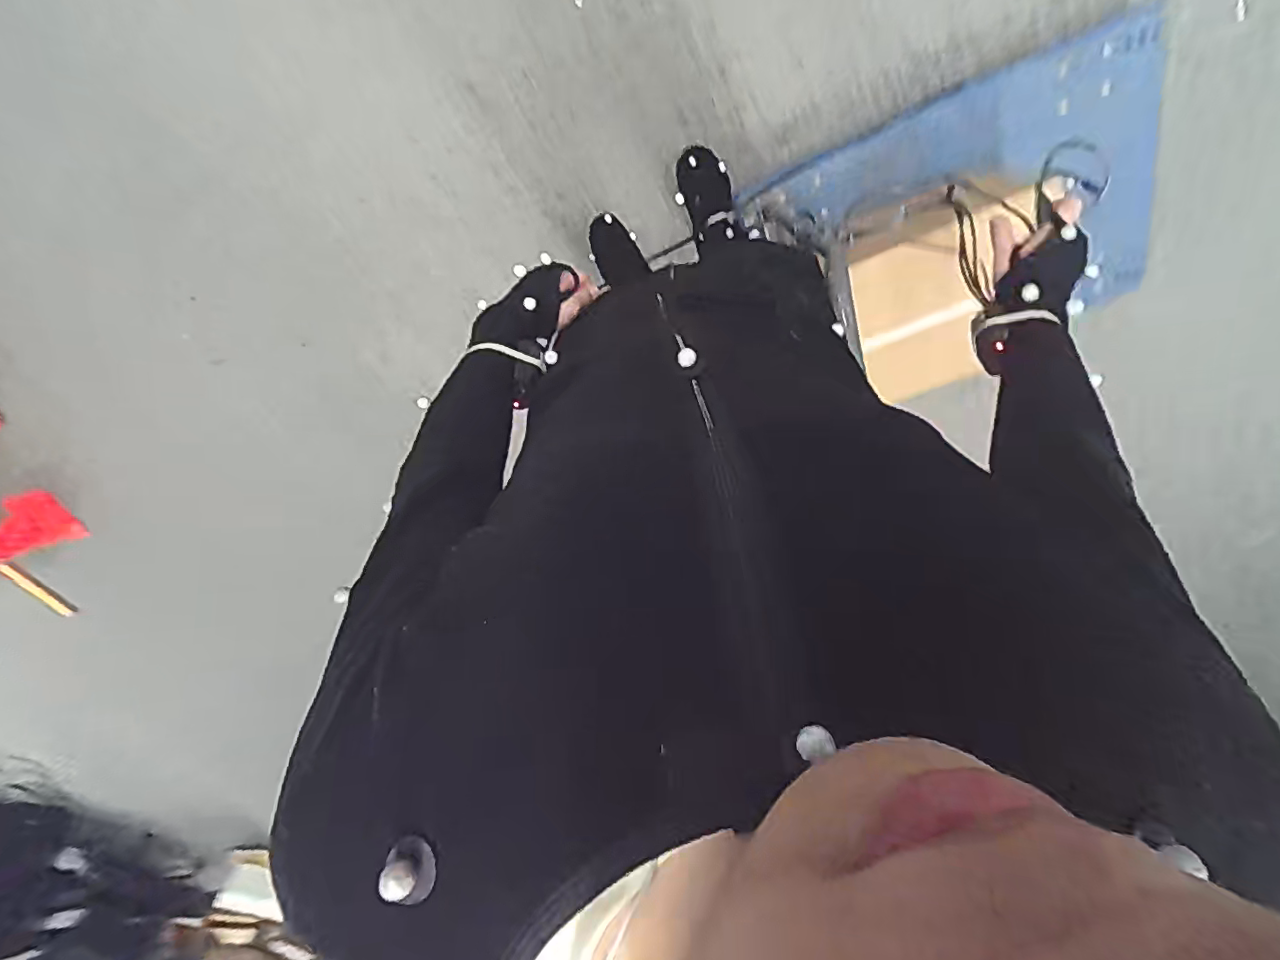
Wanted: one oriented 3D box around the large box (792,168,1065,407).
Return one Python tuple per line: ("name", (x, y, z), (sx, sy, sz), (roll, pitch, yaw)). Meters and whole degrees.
("large box", (0.592, -0.417, 1.159), (0.408, 0.320, 0.320), (-21, 121, 12))
